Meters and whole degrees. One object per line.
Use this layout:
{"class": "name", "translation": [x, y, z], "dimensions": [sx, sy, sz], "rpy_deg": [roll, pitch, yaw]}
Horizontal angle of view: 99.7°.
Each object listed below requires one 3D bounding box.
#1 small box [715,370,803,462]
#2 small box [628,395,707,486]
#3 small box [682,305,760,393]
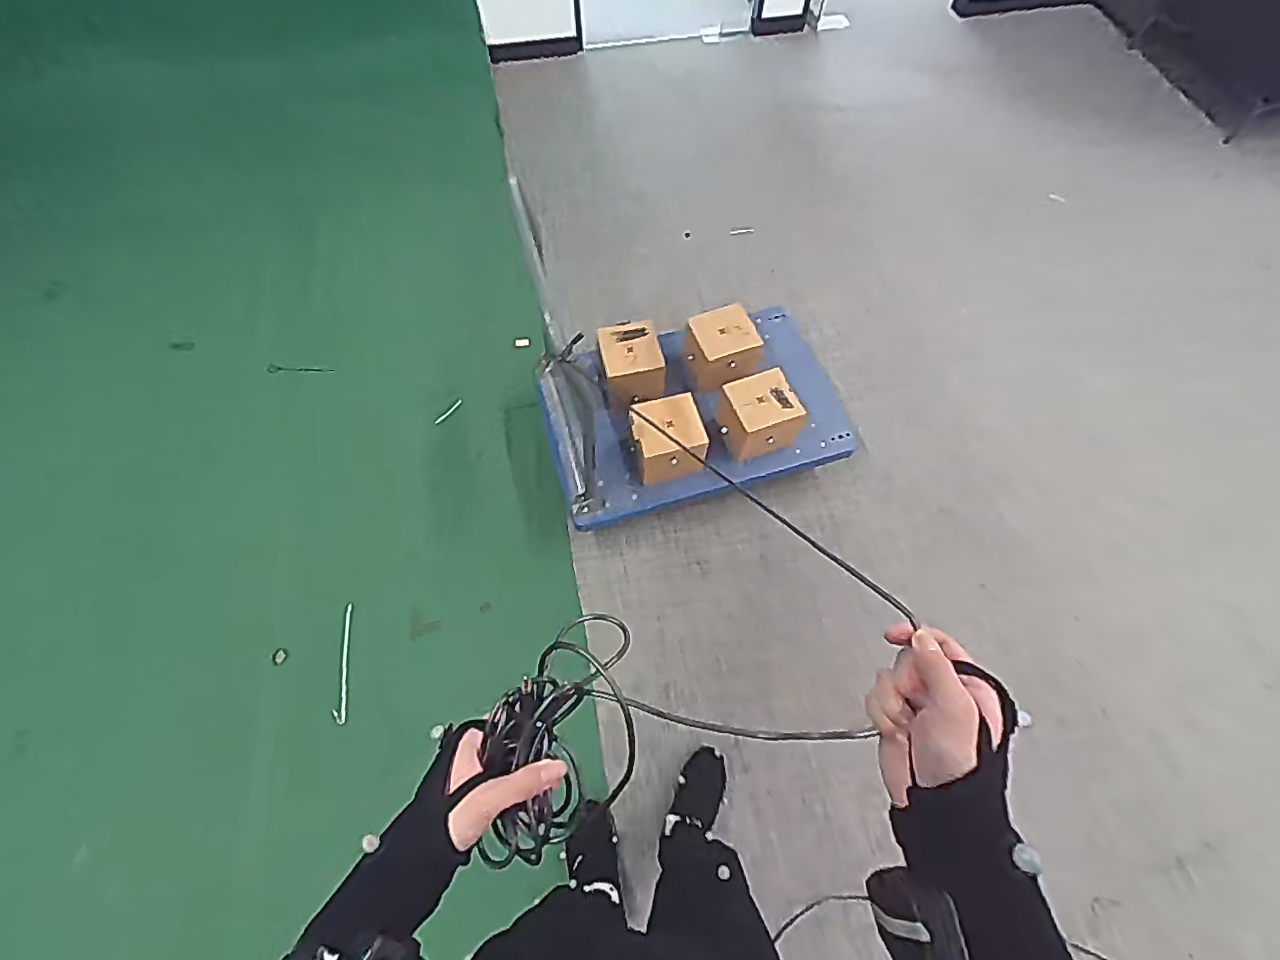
{"class": "small box", "translation": [0.327, -0.178, 1.525], "dimensions": [0.179, 0.176, 0.168], "rpy_deg": [-19, 65, -8]}
{"class": "small box", "translation": [0.069, -0.104, 1.491], "dimensions": [0.179, 0.176, 0.168], "rpy_deg": [-15, 65, -6]}
{"class": "small box", "translation": [0.234, -0.388, 1.626], "dimensions": [0.179, 0.176, 0.168], "rpy_deg": [-19, 66, -9]}
